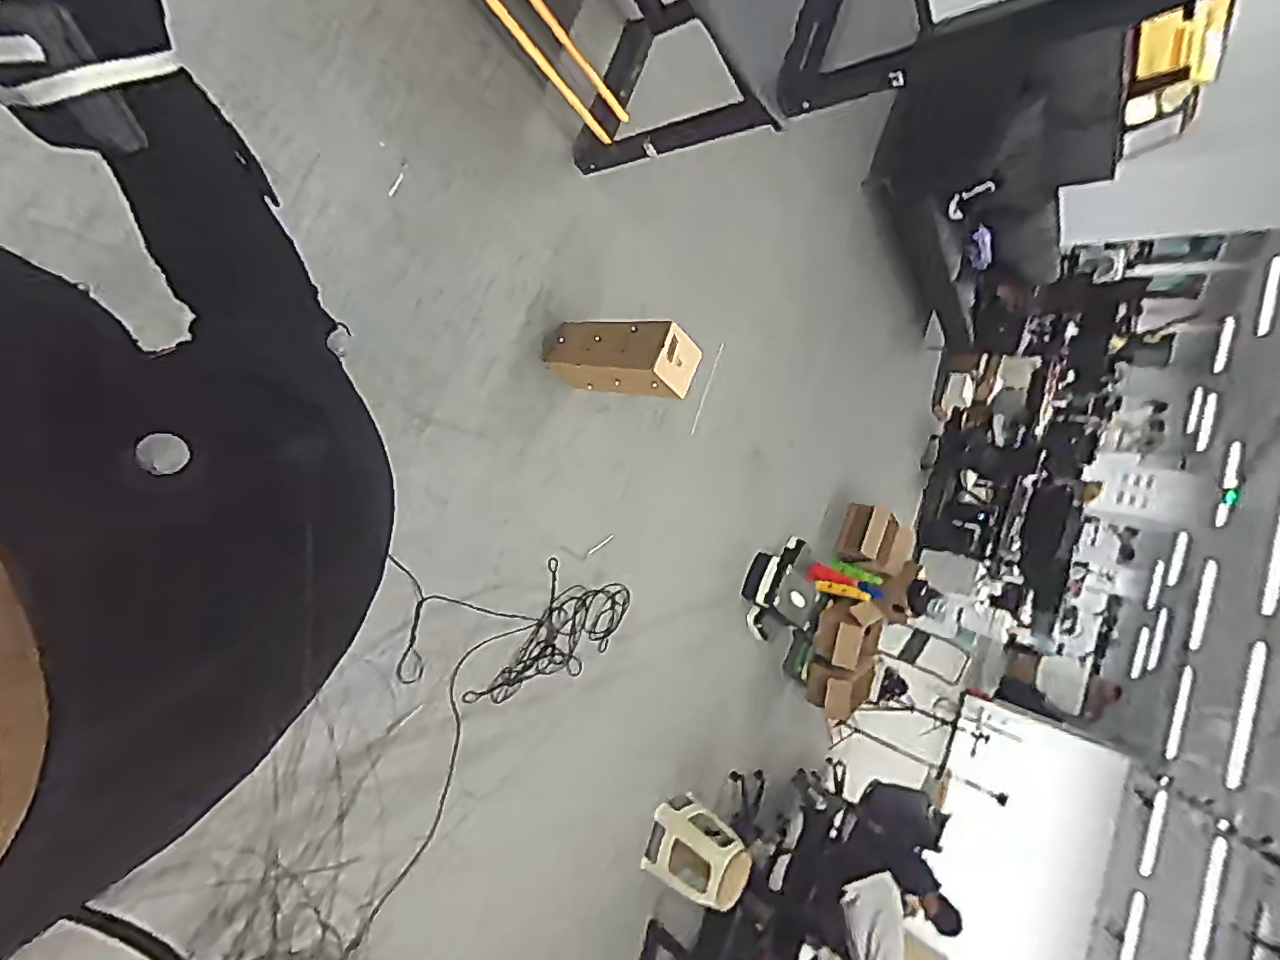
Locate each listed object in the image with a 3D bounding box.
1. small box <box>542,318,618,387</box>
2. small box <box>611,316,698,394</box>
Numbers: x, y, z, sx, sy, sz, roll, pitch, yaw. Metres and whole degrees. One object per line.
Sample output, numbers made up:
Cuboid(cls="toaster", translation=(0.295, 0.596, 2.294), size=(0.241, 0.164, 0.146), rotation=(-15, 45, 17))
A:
Cuboid(cls="small box", translation=(-0.200, -0.439, 1.854), size=(0.179, 0.176, 0.168), rotation=(36, 73, -47))
Cuboid(cls="small box", translation=(0.041, -0.378, 1.643), size=(0.179, 0.176, 0.168), rotation=(34, 76, -48))
